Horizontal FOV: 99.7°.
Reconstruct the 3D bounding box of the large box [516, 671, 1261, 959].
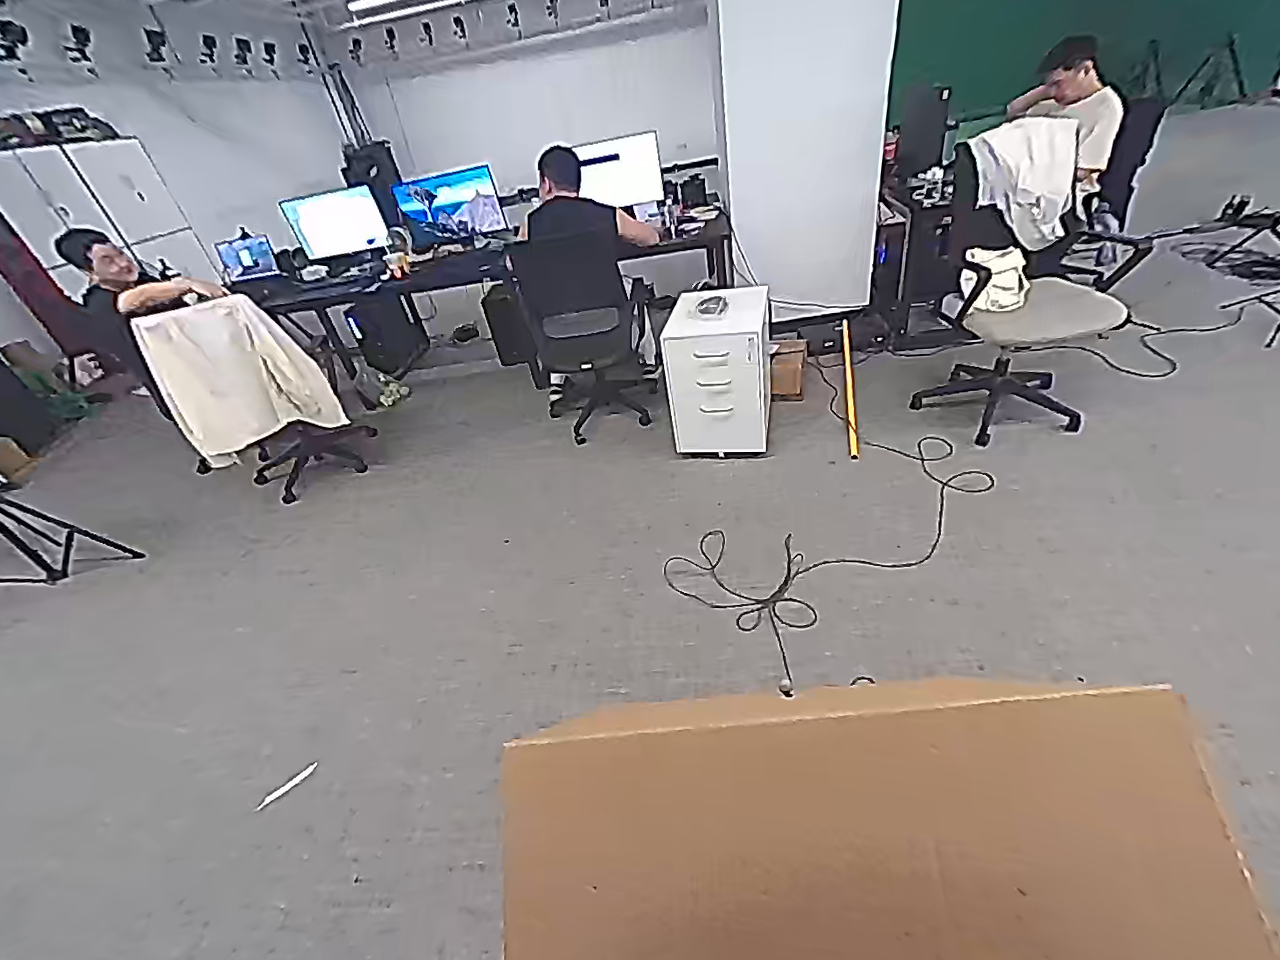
[{"bbox_3d":[0.152,0.343,0.435,0.408,0.320,0.320,-9,71,6],"label":"large box"}]
